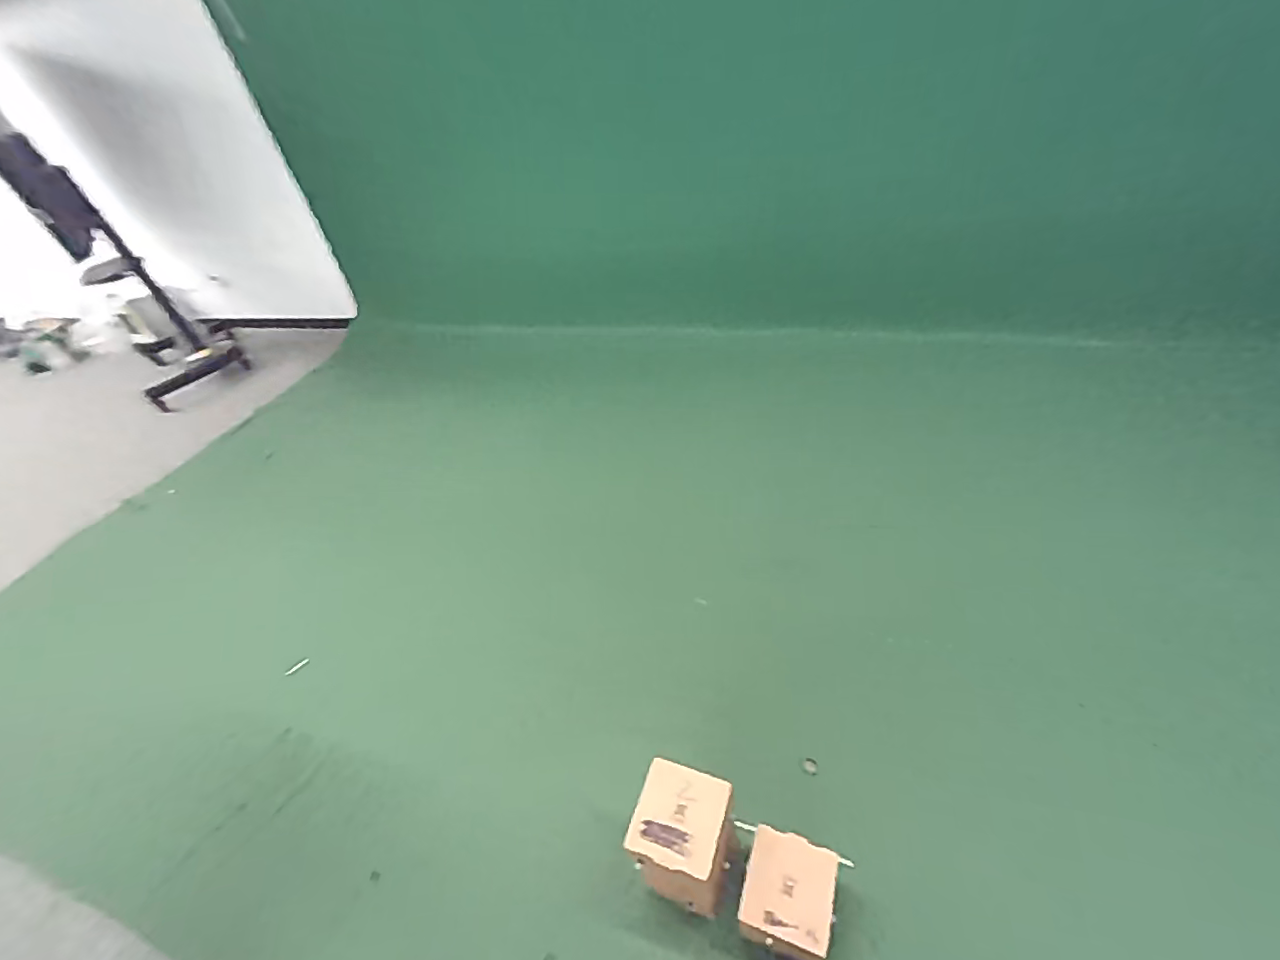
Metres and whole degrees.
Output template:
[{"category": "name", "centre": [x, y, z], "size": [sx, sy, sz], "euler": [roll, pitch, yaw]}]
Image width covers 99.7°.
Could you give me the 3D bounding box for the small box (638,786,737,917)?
[{"category": "small box", "centre": [0.115, 0.829, 1.204], "size": [0.168, 0.176, 0.179], "euler": [10, 46, 24]}]
